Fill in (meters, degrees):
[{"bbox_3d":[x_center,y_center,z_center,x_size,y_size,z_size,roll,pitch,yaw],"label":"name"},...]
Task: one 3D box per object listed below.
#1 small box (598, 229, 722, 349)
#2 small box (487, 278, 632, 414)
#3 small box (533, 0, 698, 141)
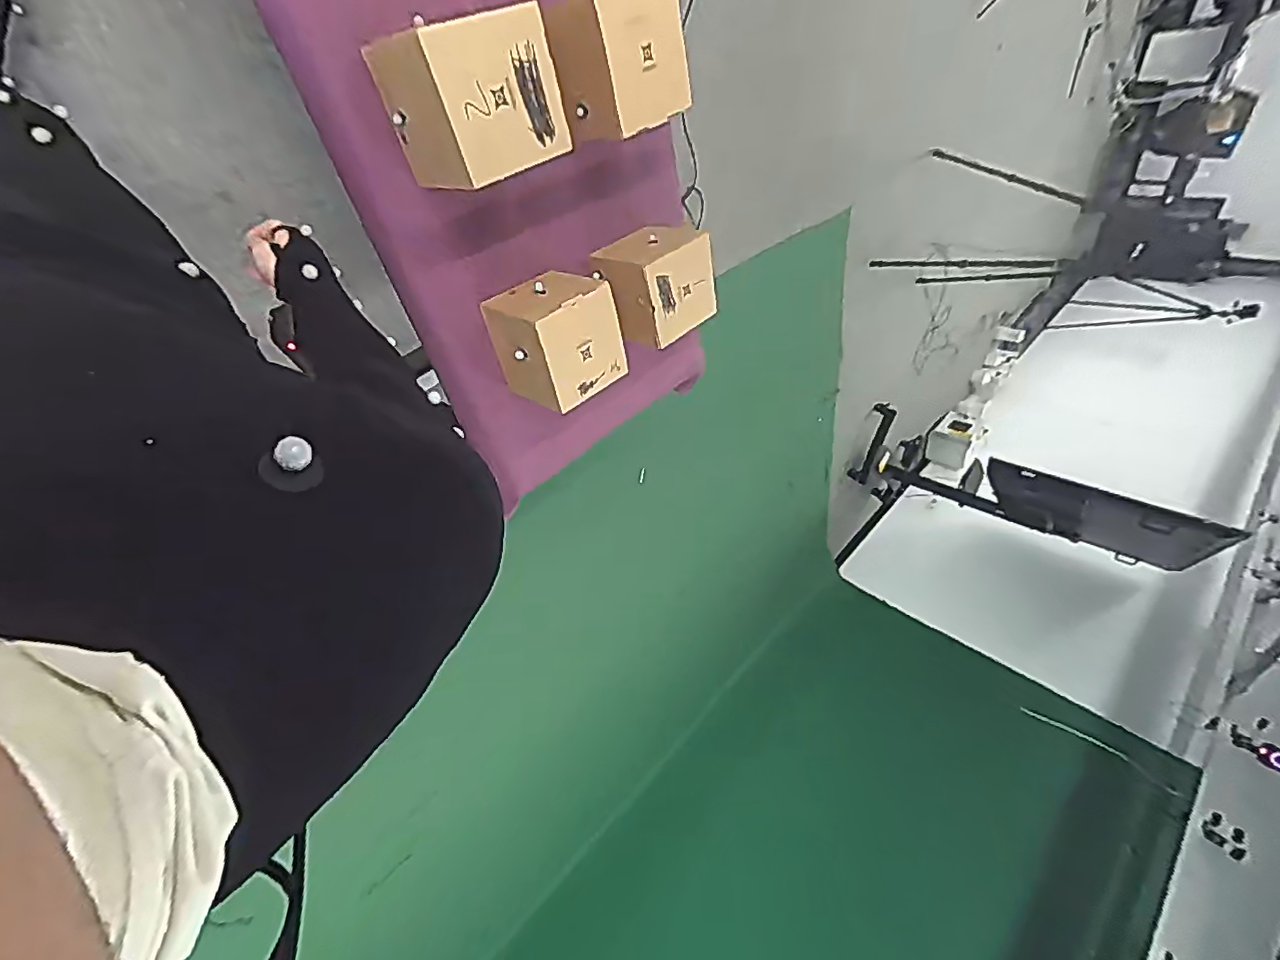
[{"bbox_3d":[0.036,-0.383,1.071,0.179,0.176,0.168,-38,135,-26],"label":"small box"},{"bbox_3d":[-0.142,-0.246,0.960,0.168,0.176,0.179,-37,134,-27],"label":"small box"},{"bbox_3d":[-0.035,-0.650,0.840,0.168,0.176,0.179,-40,135,-25],"label":"small box"}]
